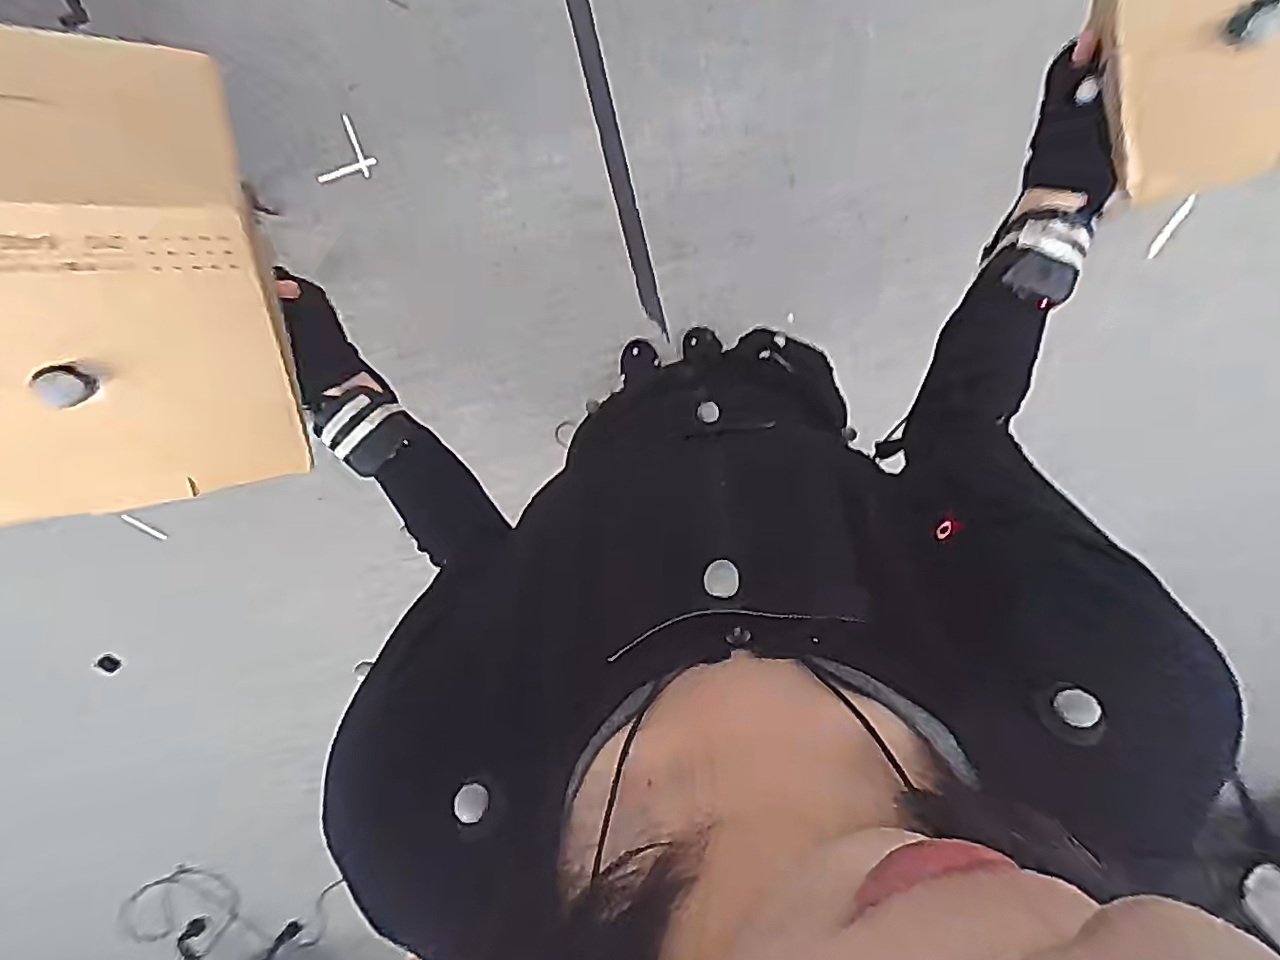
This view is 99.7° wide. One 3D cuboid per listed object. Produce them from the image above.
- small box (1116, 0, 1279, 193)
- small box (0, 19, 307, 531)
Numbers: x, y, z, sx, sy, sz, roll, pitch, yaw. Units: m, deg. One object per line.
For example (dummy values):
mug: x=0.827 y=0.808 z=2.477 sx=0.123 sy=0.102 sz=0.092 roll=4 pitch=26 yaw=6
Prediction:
small box: x=0.324 y=-0.278 z=0.239 sx=0.168 sy=0.179 sz=0.176 roll=-5 pitch=139 yaw=39
small box: x=-0.288 y=-0.102 z=0.265 sx=0.168 sy=0.179 sz=0.176 roll=-15 pitch=145 yaw=-28
